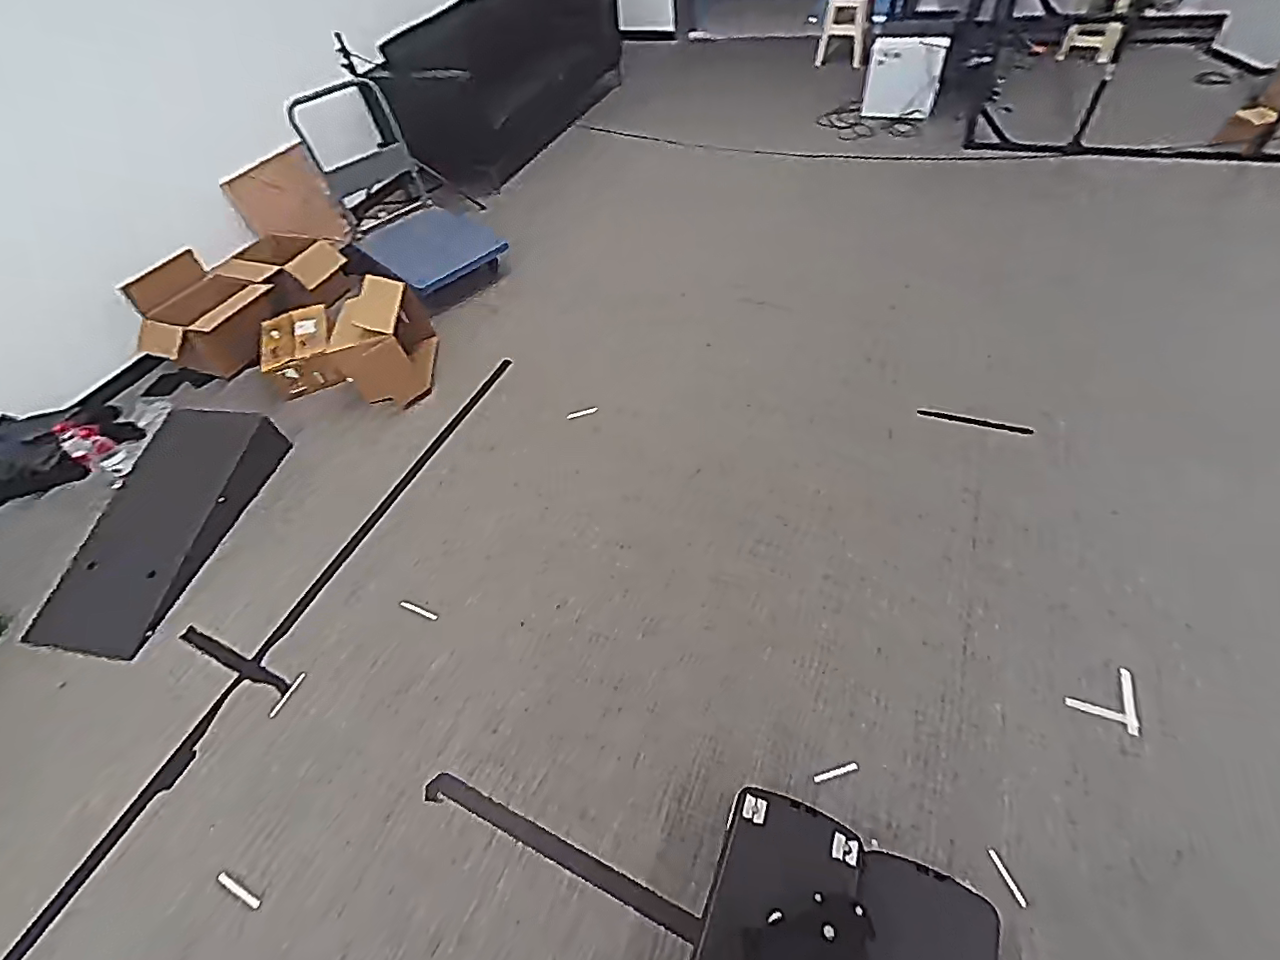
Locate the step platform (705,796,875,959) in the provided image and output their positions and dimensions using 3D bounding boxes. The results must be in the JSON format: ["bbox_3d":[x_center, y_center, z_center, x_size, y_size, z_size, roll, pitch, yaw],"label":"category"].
[{"bbox_3d":[0.265,1.034,1.084,0.286,0.204,0.684,15,55,19],"label":"step platform"}]
